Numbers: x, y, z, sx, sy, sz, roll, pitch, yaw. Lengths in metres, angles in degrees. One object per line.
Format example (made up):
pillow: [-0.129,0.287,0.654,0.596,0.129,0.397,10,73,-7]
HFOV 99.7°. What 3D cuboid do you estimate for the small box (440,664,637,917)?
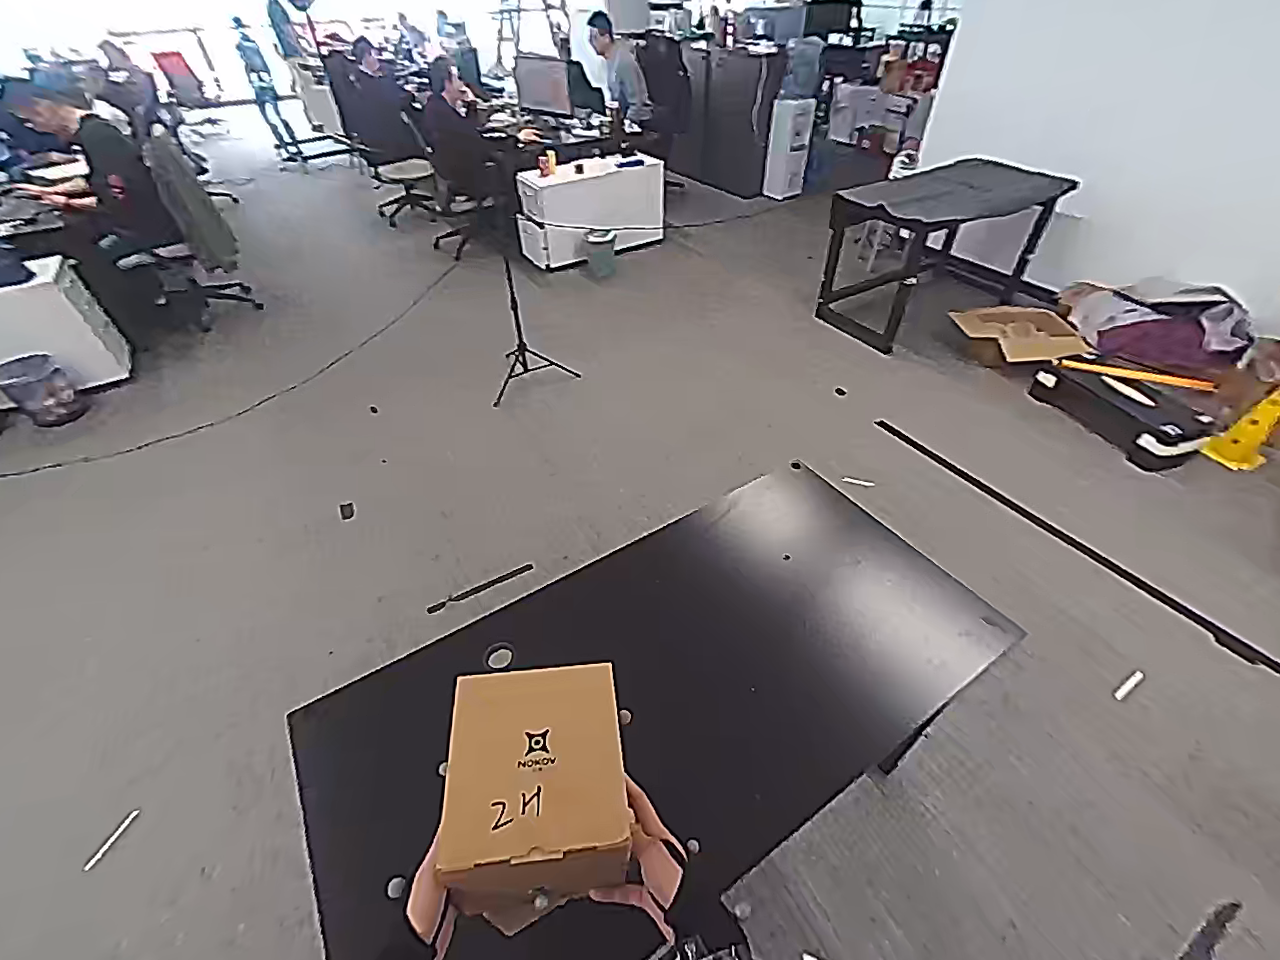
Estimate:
small box: [-0.099,0.319,0.564,0.168,0.176,0.179,-2,41,-8]
